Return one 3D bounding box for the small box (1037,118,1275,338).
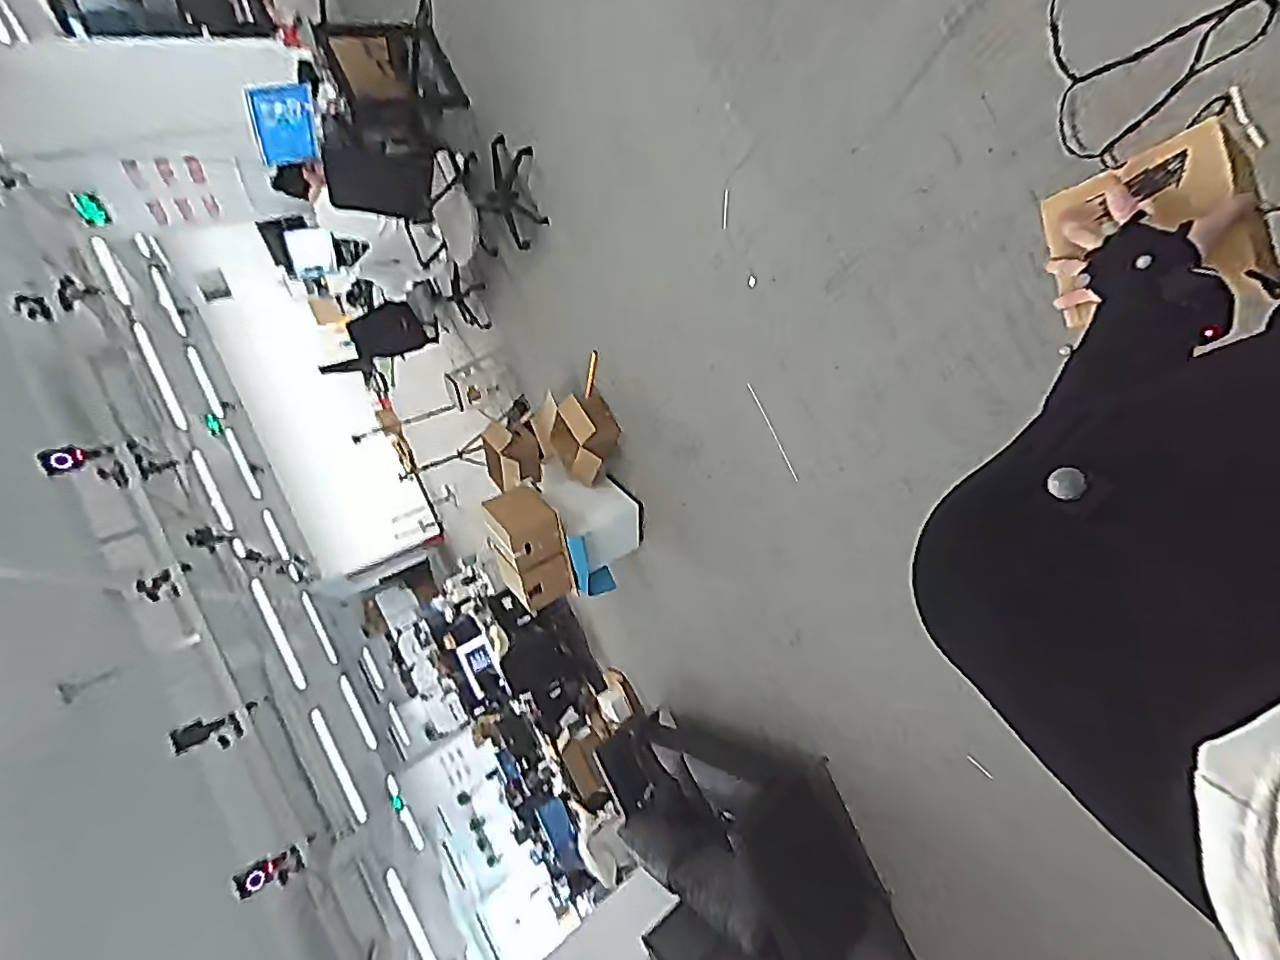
[{"bbox_3d":[0.643,-0.295,0.679,0.168,0.176,0.179,-18,77,56],"label":"small box"}]
